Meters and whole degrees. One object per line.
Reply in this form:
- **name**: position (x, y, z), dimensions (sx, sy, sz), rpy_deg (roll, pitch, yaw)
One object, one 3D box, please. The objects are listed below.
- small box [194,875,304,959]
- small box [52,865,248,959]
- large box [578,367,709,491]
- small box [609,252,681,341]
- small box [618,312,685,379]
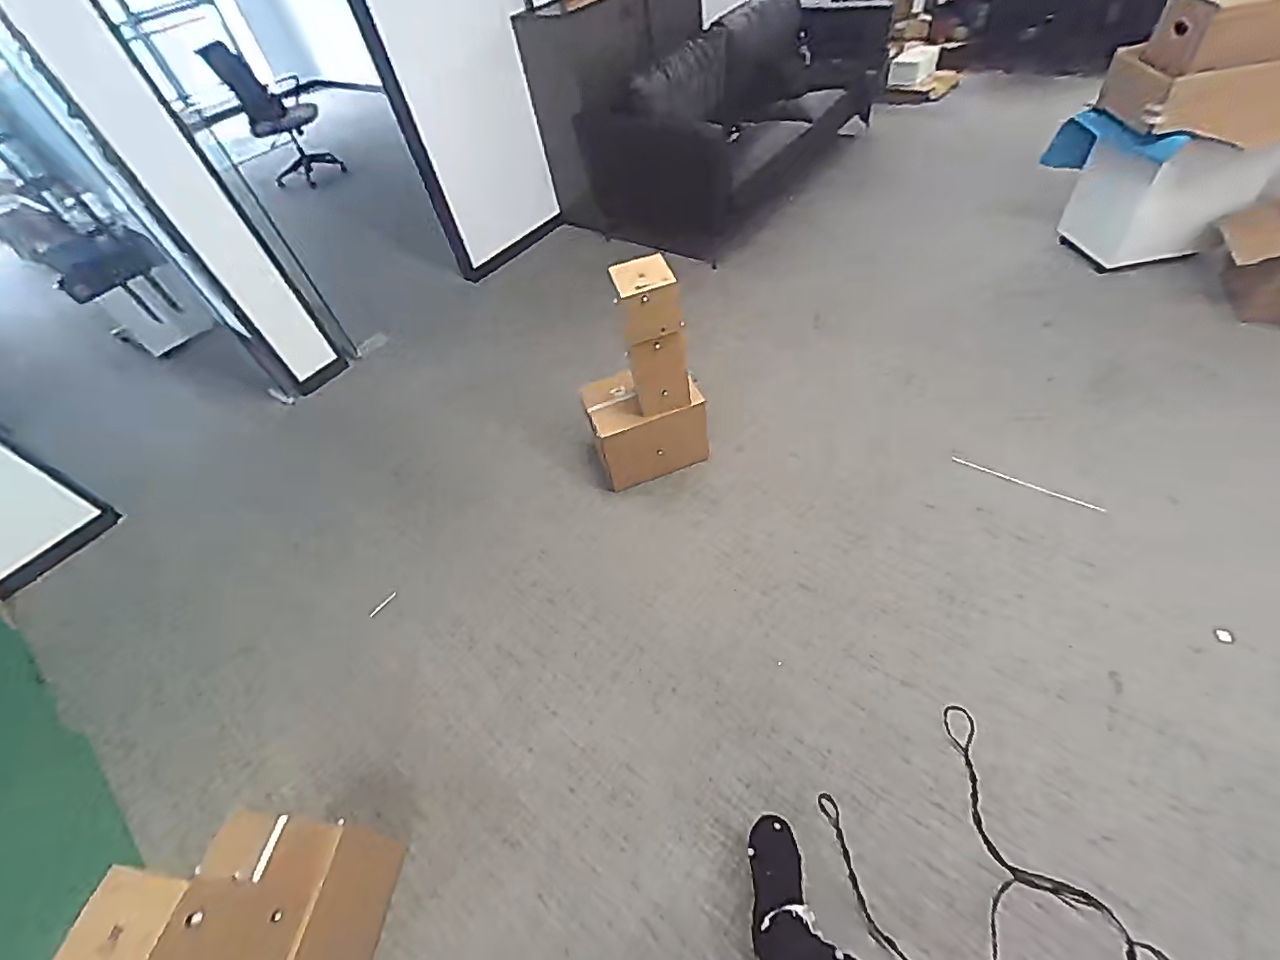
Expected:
- **small box**: position (-0.779, 0.867, 1.017), dimensions (0.168, 0.176, 0.179), rpy_deg (0, 51, 11)
- **small box**: position (-0.801, 0.763, 0.891), dimensions (0.168, 0.176, 0.179), rpy_deg (1, 51, 13)
- **large box**: position (0.020, -0.220, 2.101), dimensions (0.408, 0.320, 0.320), rpy_deg (-21, 49, -6)
- **small box**: position (0.016, -0.549, 1.625), dimensions (0.168, 0.176, 0.179), rpy_deg (-18, 50, -2)
- **small box**: position (0.043, -0.460, 1.761), dimensions (0.179, 0.176, 0.168), rpy_deg (-18, 51, -3)
